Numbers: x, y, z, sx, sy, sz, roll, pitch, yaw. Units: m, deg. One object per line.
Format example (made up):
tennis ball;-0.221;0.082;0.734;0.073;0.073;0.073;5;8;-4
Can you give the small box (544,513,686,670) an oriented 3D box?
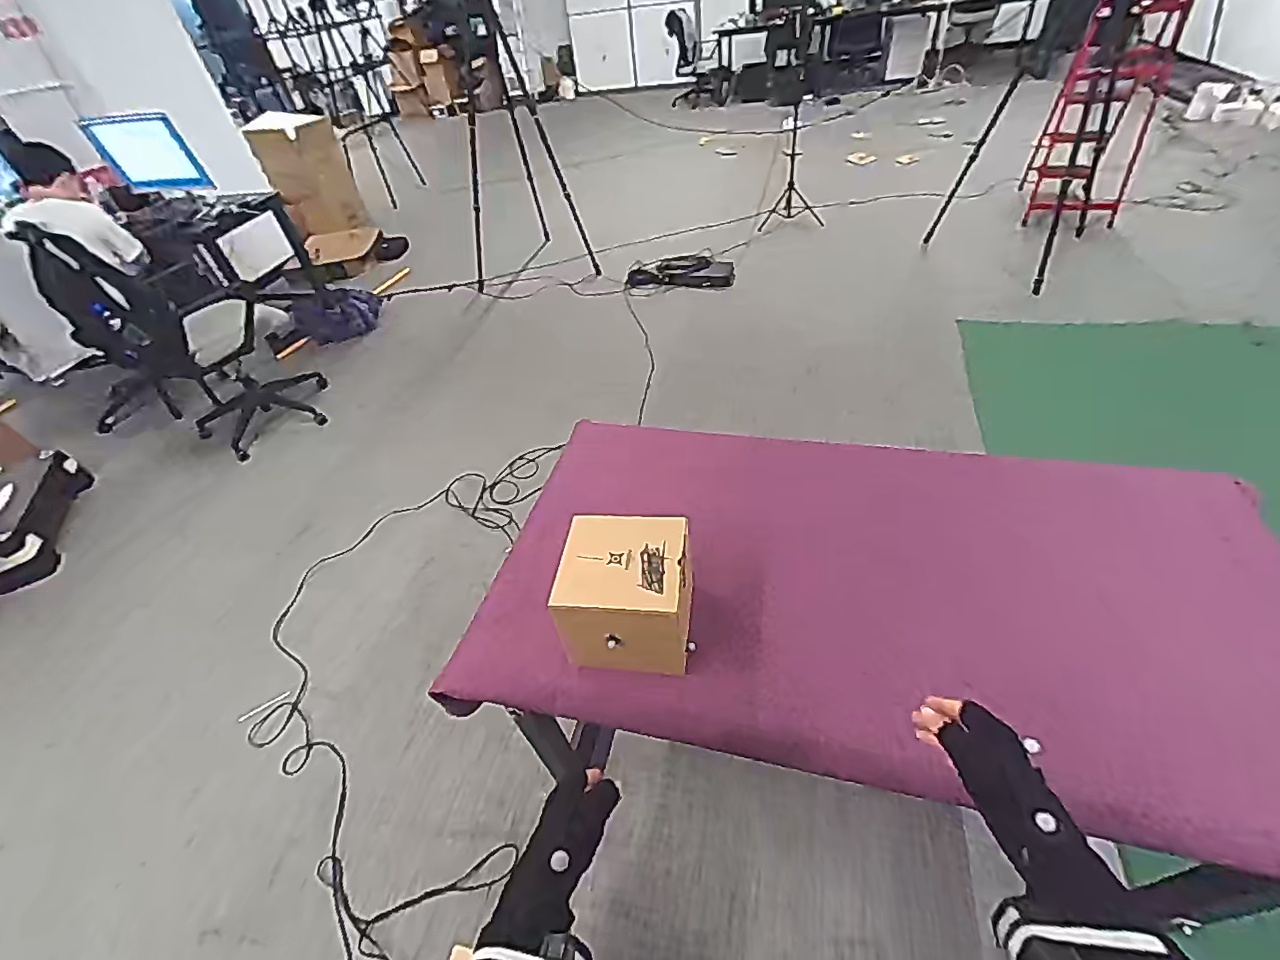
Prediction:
small box;-0.024;0.169;0.814;0.179;0.176;0.168;1;44;10
